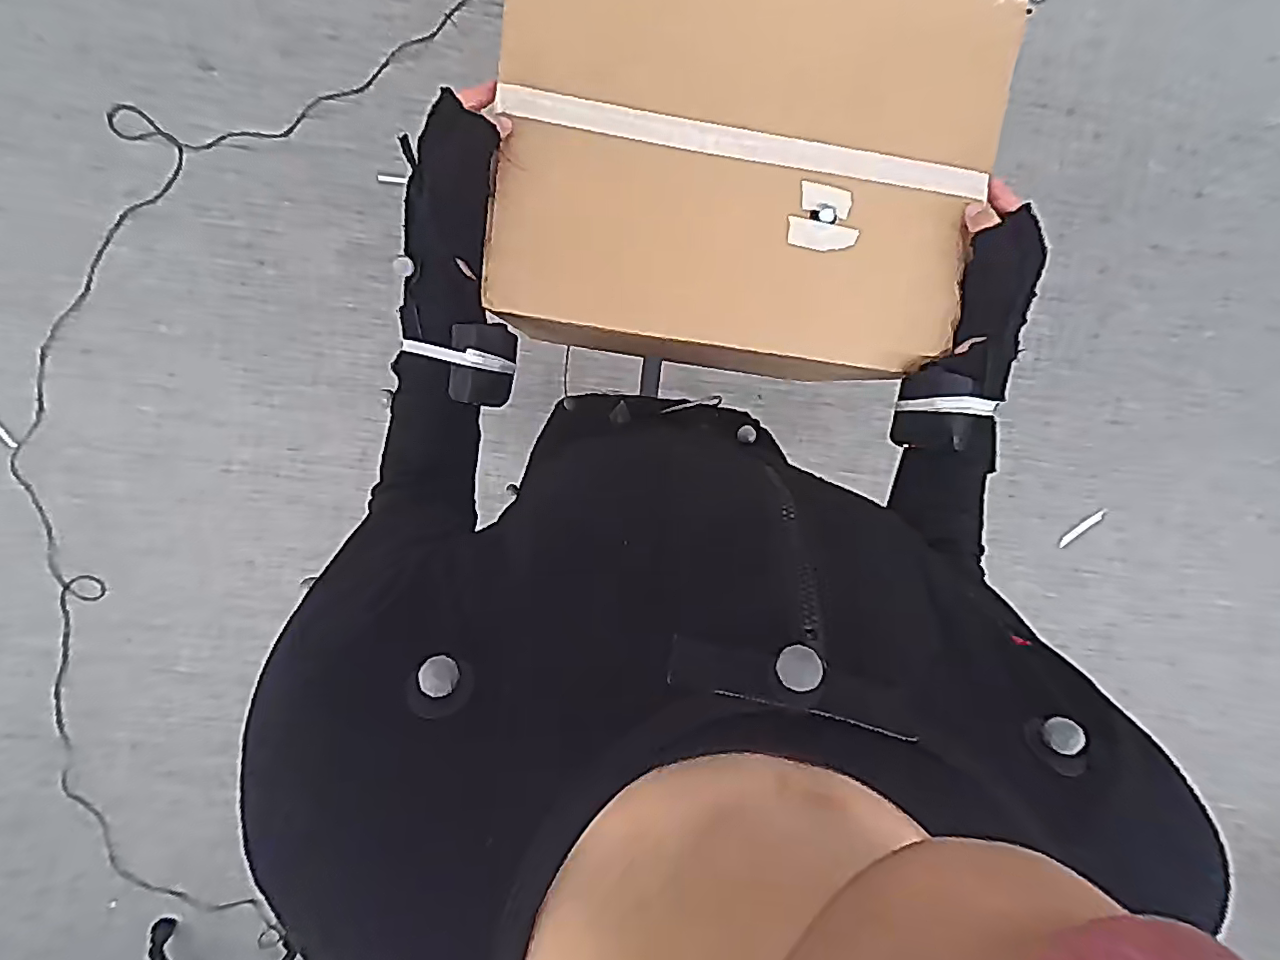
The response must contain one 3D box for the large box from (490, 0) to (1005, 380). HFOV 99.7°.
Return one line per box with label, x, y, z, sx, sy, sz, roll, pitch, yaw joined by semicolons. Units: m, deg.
large box;0.073;-0.290;0.592;0.408;0.320;0.320;7;100;-7
